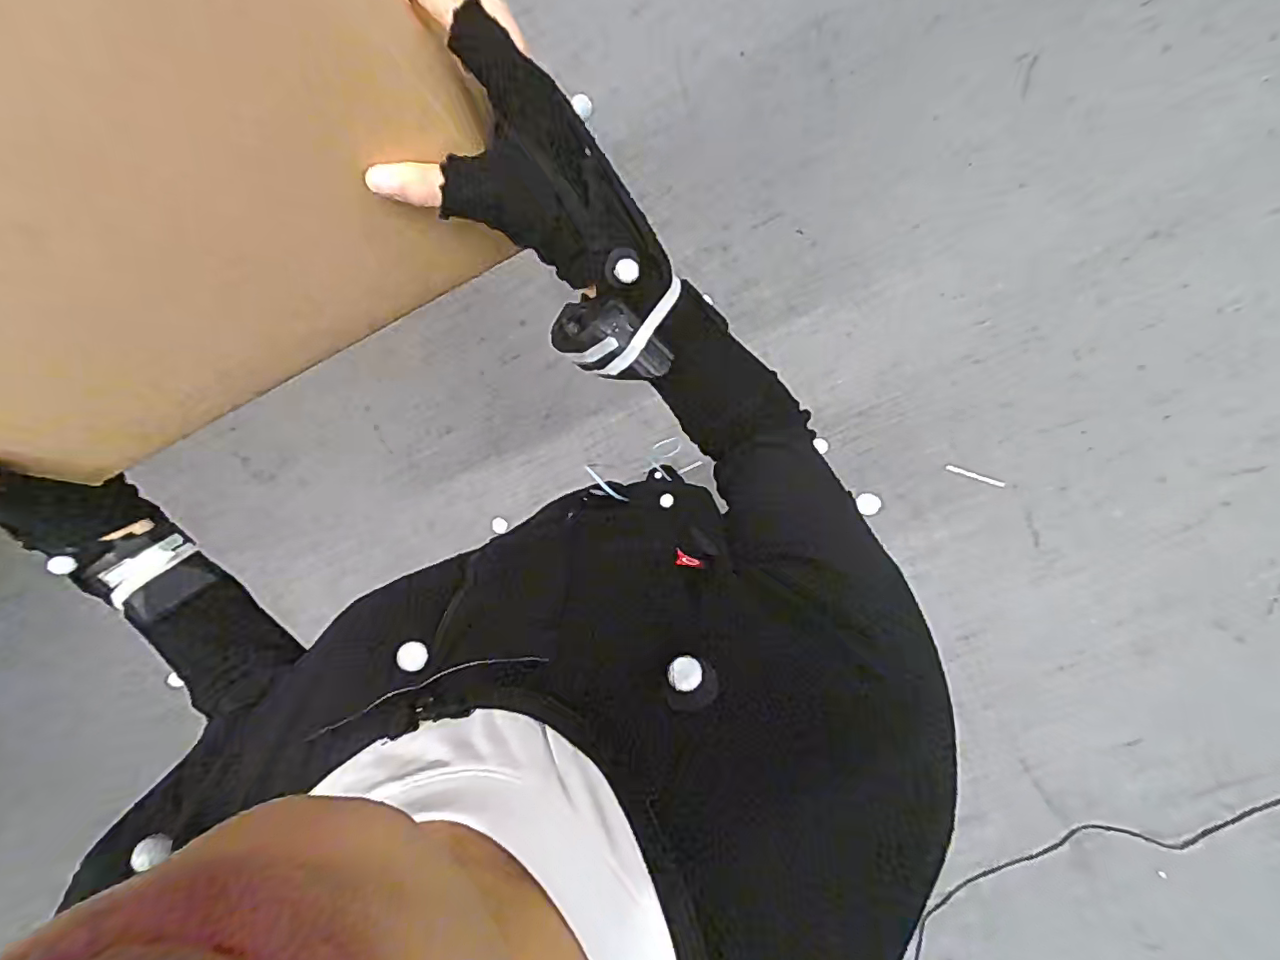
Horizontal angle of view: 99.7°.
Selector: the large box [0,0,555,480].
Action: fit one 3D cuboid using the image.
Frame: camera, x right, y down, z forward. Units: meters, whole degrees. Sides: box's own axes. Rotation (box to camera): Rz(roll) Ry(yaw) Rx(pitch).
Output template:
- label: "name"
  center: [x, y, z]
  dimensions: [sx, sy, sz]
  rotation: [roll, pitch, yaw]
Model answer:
- label: "large box"
  center: [-0.316, -0.239, 0.275]
  dimensions: [0.408, 0.320, 0.320]
  rotation: [-23, 73, 11]
